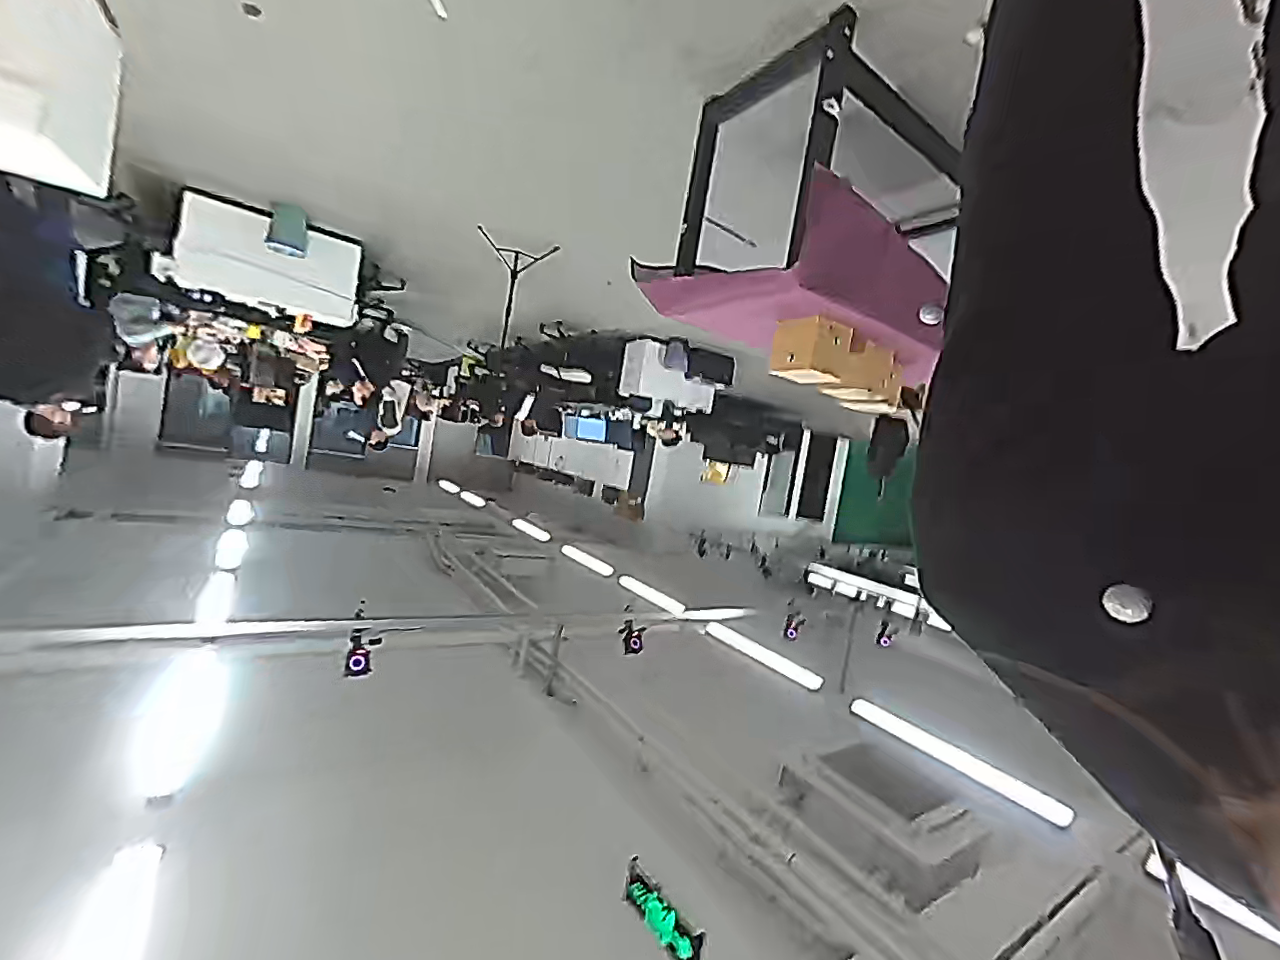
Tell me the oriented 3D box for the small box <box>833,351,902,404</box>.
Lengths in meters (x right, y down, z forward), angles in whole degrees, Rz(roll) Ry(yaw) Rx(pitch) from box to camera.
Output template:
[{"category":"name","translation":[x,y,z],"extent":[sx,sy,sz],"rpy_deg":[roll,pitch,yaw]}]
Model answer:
[{"category":"small box","translation":[0.877,-0.393,2.080],"extent":[0.168,0.176,0.179],"rpy_deg":[6,-176,-35]}]

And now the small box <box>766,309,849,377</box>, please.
[{"category":"small box","translation":[0.531,-0.429,1.708],"extent":[0.168,0.176,0.179],"rpy_deg":[7,-176,-33]}]
